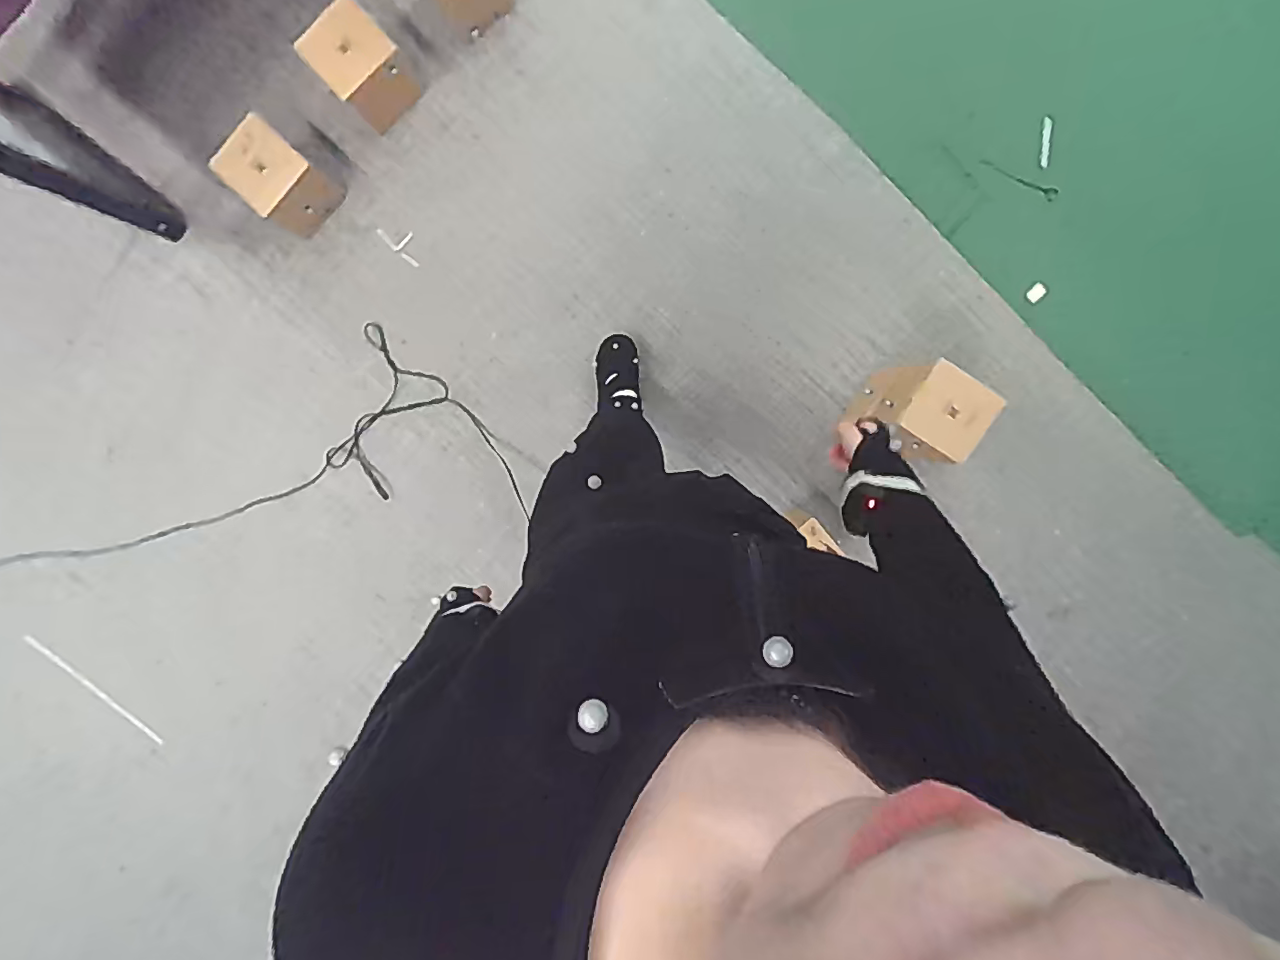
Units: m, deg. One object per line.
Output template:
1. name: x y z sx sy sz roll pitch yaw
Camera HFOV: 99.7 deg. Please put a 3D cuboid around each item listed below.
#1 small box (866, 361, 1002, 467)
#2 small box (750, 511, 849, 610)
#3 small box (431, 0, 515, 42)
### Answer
1. small box: 0.651 -0.145 1.222 0.179 0.176 0.168 33 95 -4
2. small box: 0.407 0.204 1.420 0.179 0.176 0.168 -39 95 4
3. small box: -0.426 -1.209 1.294 0.168 0.176 0.179 -38 94 3
